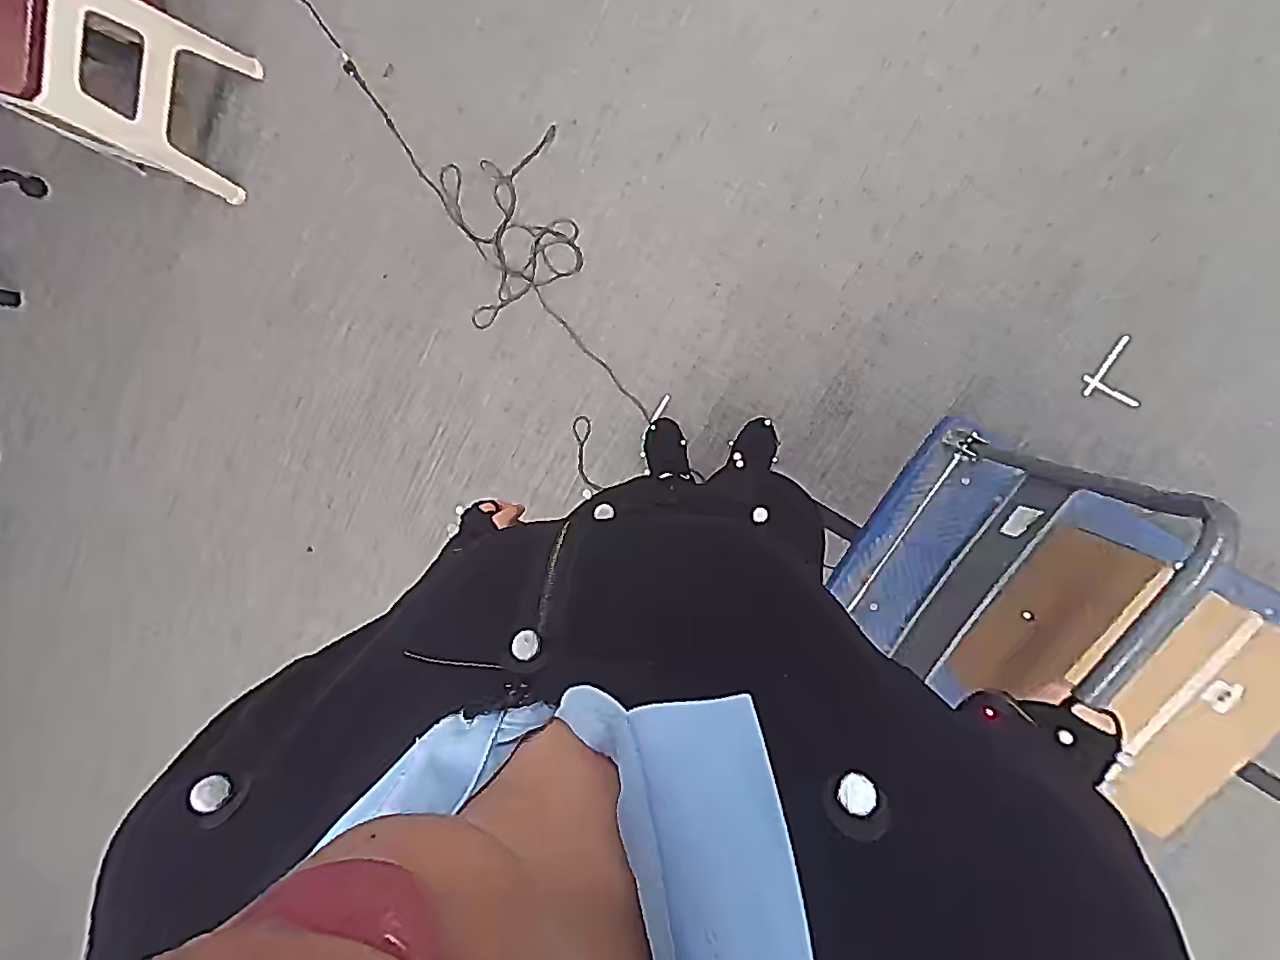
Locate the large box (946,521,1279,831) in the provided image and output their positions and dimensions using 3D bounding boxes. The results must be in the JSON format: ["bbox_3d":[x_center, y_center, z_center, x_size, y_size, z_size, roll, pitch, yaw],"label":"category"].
[{"bbox_3d":[0.900,0.348,1.055,0.320,0.320,0.408,32,102,3],"label":"large box"}]
